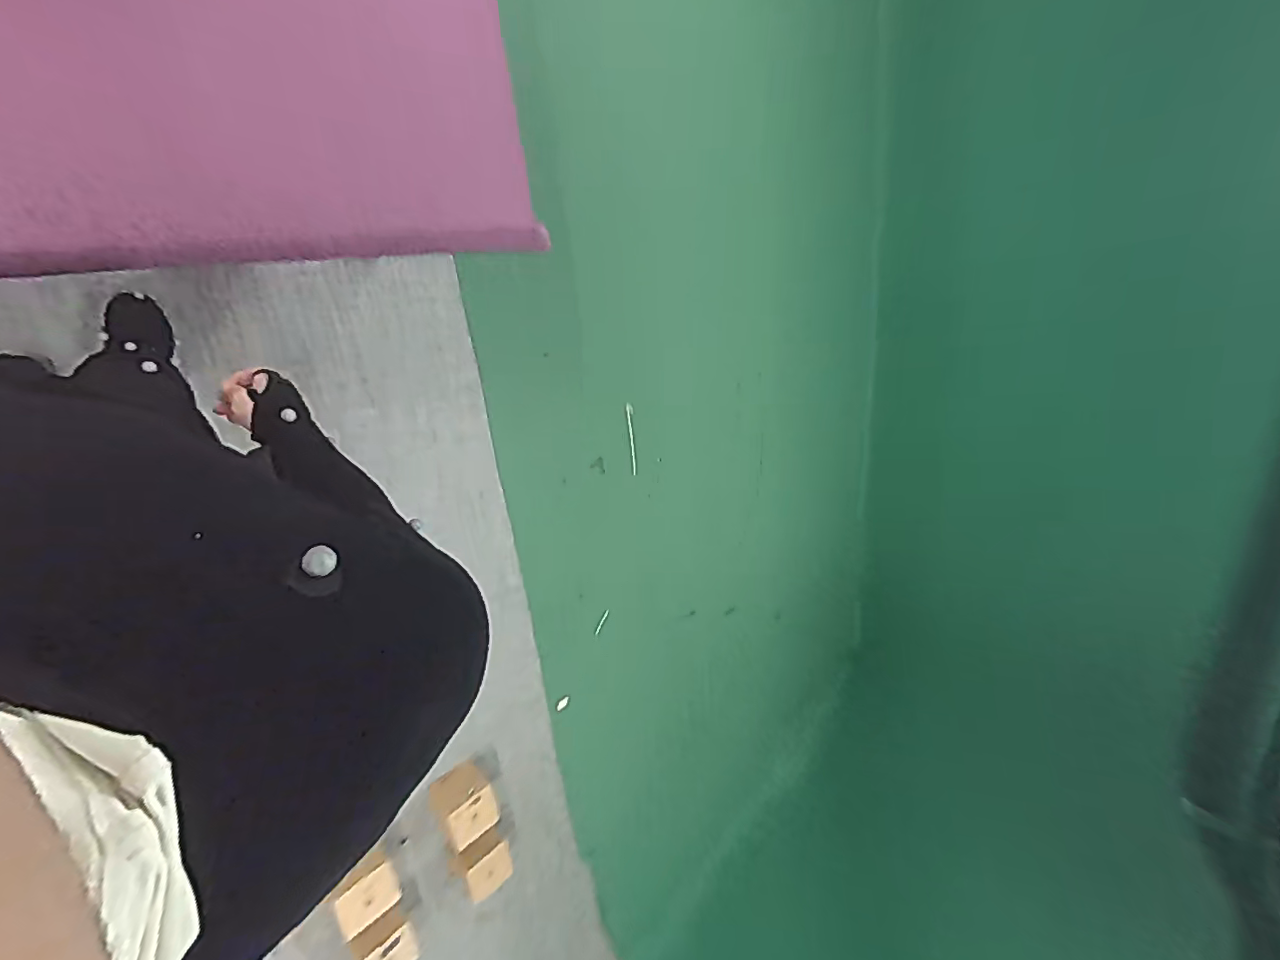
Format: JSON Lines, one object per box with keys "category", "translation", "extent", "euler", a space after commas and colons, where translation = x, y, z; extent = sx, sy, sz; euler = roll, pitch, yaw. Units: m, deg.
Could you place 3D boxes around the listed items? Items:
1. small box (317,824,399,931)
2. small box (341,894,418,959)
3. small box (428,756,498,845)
{"category": "small box", "translation": [-0.889, 1.244, 1.707], "extent": [0.168, 0.176, 0.179], "euler": [-22, 116, -41]}
{"category": "small box", "translation": [-0.868, 1.506, 1.798], "extent": [0.168, 0.176, 0.179], "euler": [-21, 116, -40]}
{"category": "small box", "translation": [-0.636, 1.141, 1.938], "extent": [0.168, 0.176, 0.179], "euler": [-24, 118, -40]}
